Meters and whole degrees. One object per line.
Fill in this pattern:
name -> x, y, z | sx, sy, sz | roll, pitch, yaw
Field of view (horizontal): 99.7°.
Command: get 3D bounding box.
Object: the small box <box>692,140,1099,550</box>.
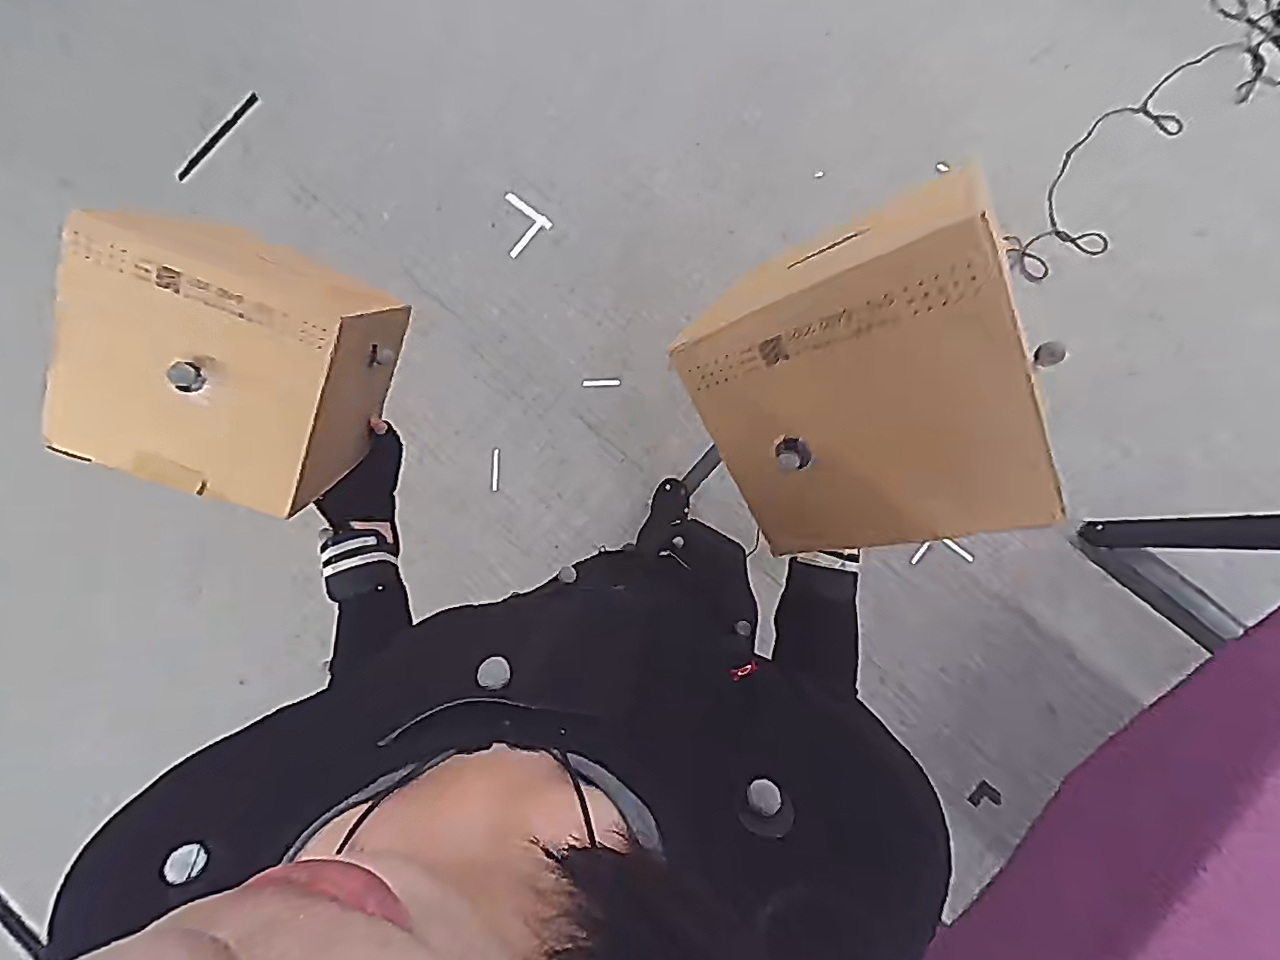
small box -> 0.157, -0.082, 0.342 | 0.168, 0.179, 0.176 | -13, 116, 37

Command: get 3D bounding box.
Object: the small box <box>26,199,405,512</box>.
small box -> -0.314, -0.102, 0.434 | 0.168, 0.179, 0.176 | 21, 106, -14
